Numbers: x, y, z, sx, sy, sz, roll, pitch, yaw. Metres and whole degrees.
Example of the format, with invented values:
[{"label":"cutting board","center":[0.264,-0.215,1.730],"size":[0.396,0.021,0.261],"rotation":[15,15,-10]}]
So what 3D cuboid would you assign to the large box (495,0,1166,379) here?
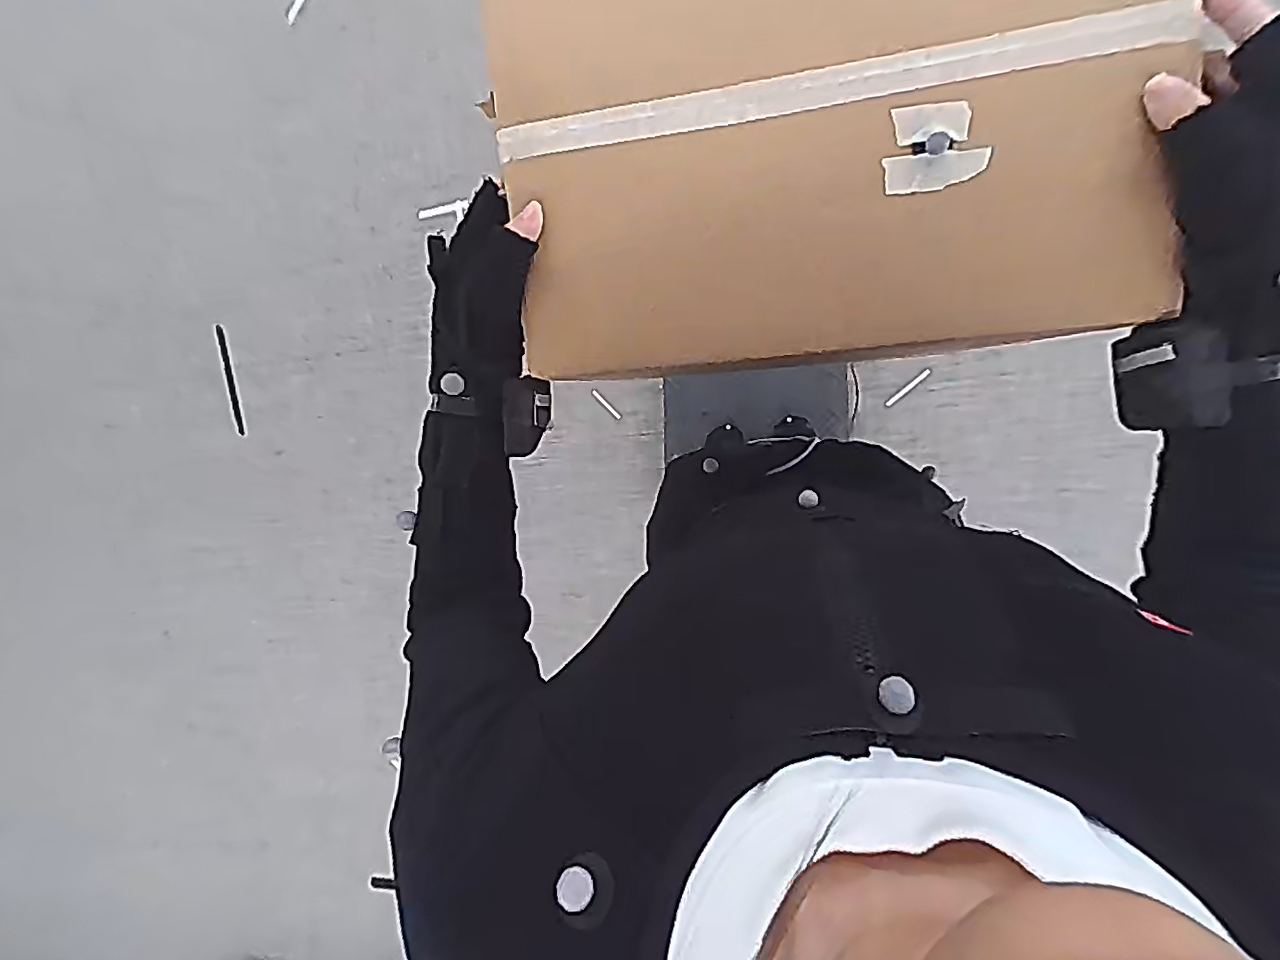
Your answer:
[{"label":"large box","center":[0.128,-0.269,0.490],"size":[0.408,0.320,0.320],"rotation":[-4,100,10]}]
